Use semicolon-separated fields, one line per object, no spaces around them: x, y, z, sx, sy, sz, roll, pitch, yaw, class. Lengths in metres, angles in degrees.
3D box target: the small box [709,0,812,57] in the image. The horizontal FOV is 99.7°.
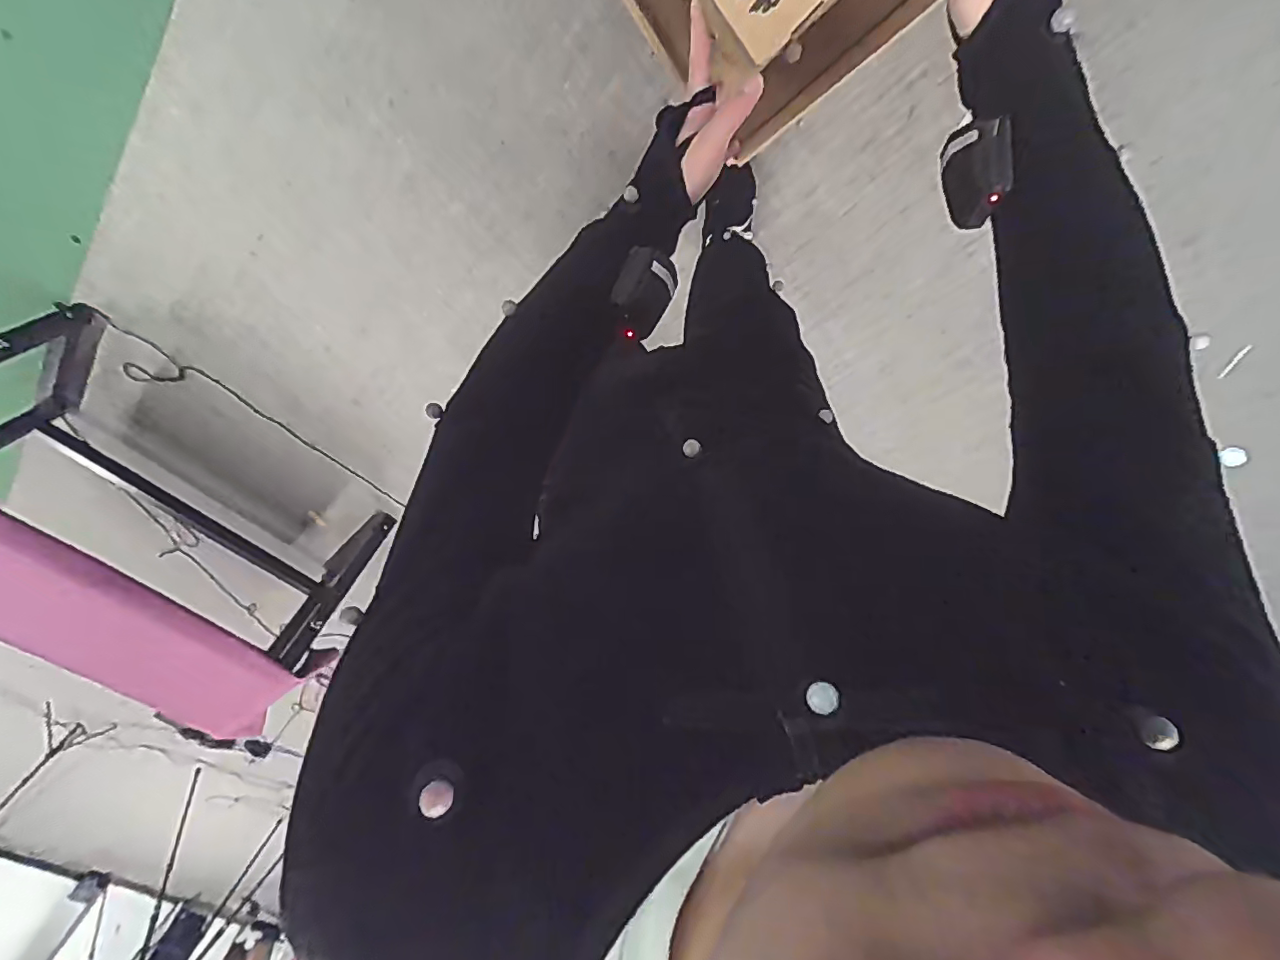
0.129;-0.581;0.551;0.168;0.176;0.179;-33;117;28;small box
